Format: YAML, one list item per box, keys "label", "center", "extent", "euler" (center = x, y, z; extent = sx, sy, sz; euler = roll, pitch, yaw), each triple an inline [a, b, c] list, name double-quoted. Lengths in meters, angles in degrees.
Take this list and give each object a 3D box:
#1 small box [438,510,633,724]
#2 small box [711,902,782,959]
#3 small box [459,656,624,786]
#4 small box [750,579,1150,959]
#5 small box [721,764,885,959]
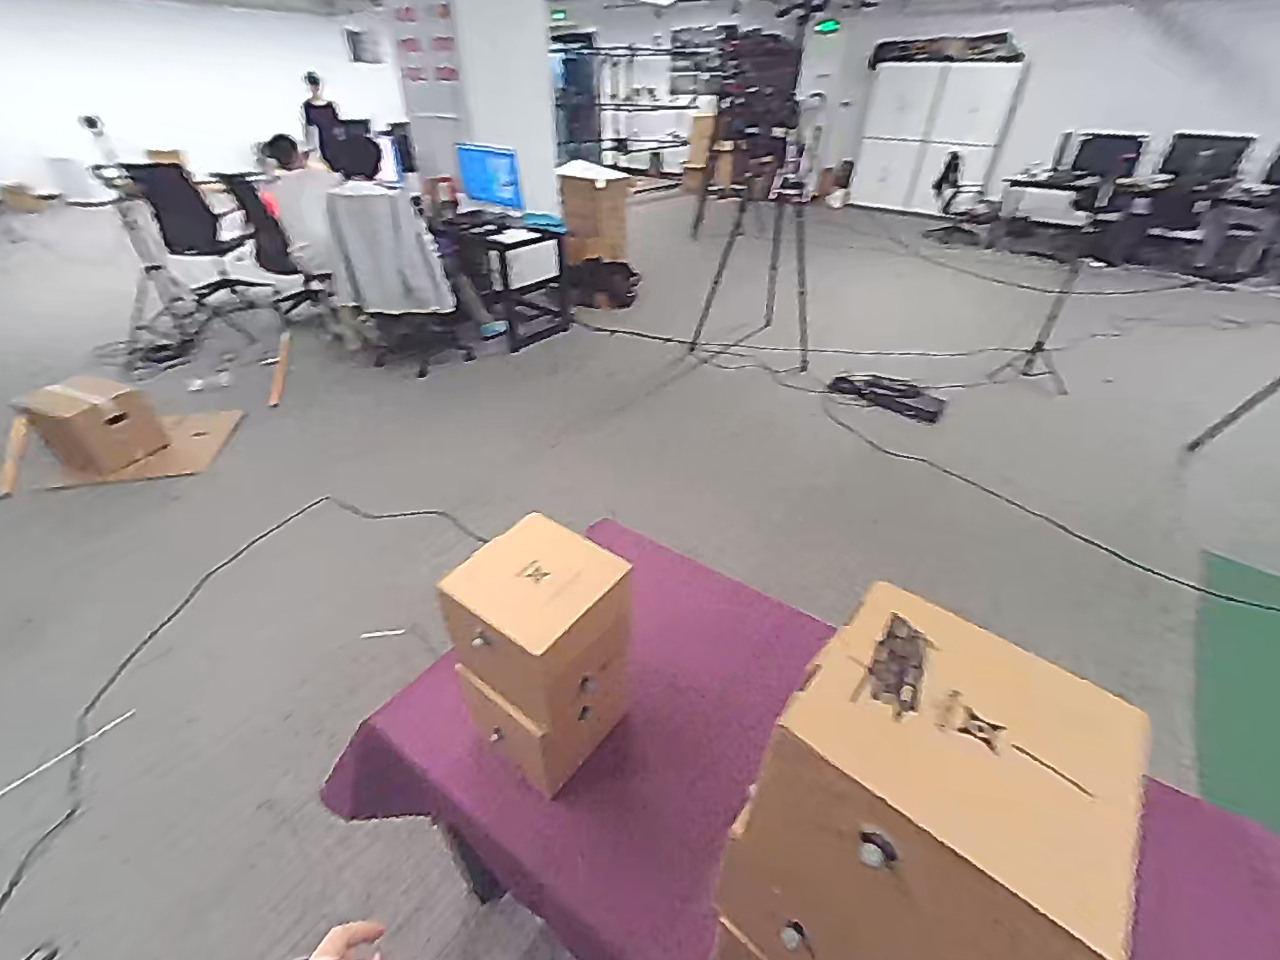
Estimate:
- label: "small box"
  center: [-0.126, 0.173, 0.697]
  extent: [0.179, 0.176, 0.168]
  euler: [25, 44, 28]
- label: "small box"
  center: [0.191, 0.474, 0.576]
  extent: [0.179, 0.176, 0.168]
  euler: [25, 43, 28]
- label: "small box"
  center: [-0.133, 0.303, 0.796]
  extent: [0.168, 0.176, 0.179]
  euler: [26, 43, 29]
- label: "small box"
  center: [0.197, 0.211, 0.378]
  extent: [0.179, 0.176, 0.168]
  euler: [29, 44, 30]
- label: "small box"
  center: [0.188, 0.339, 0.482]
  extent: [0.179, 0.176, 0.168]
  euler: [27, 44, 31]
